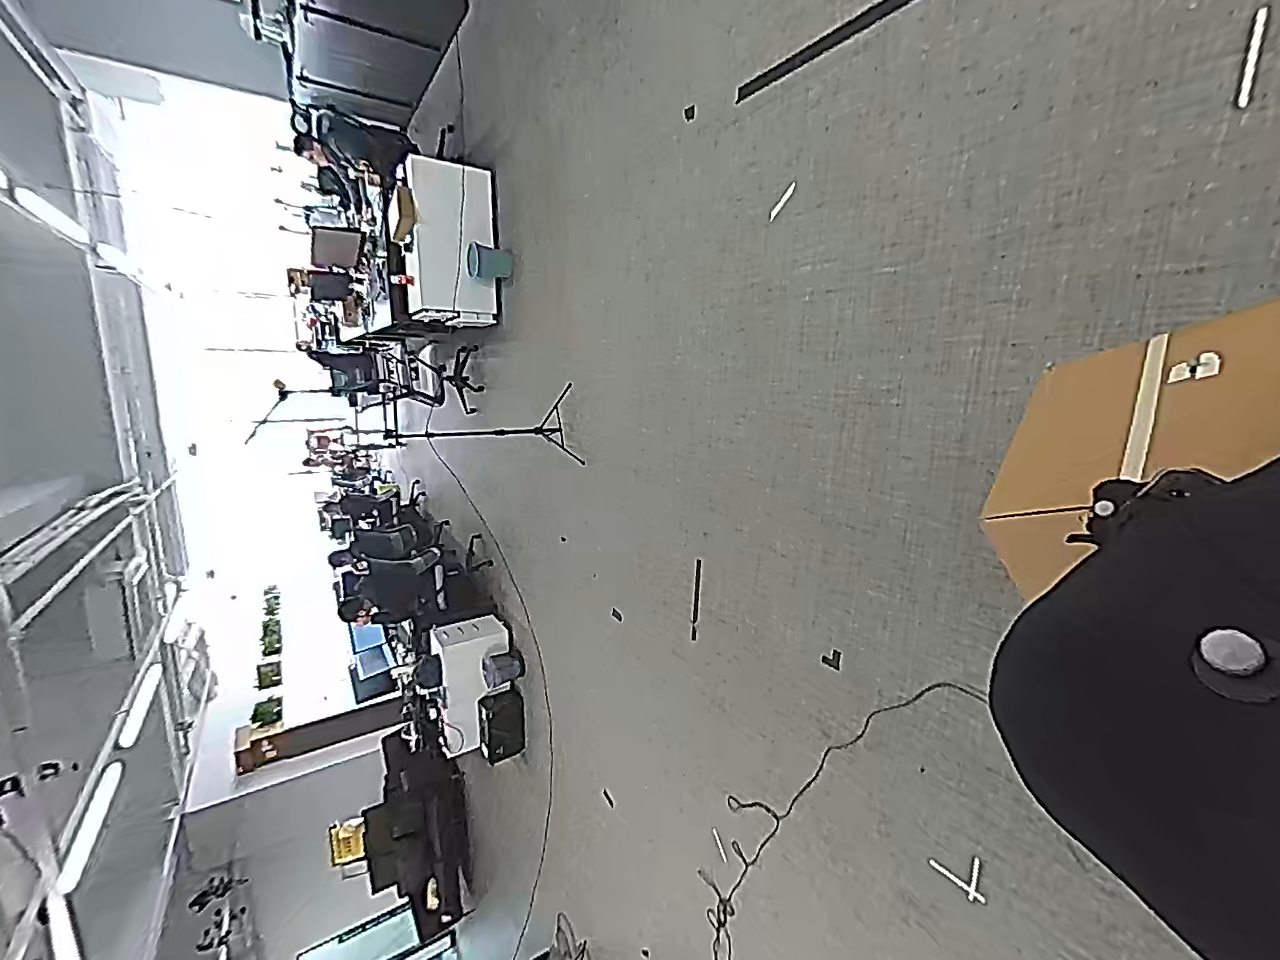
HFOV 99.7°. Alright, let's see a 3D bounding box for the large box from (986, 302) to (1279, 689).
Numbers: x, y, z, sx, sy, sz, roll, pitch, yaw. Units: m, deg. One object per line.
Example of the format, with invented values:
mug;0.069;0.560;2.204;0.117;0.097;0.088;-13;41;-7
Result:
large box;0.758;0.021;0.743;0.320;0.408;0.320;54;149;-12
